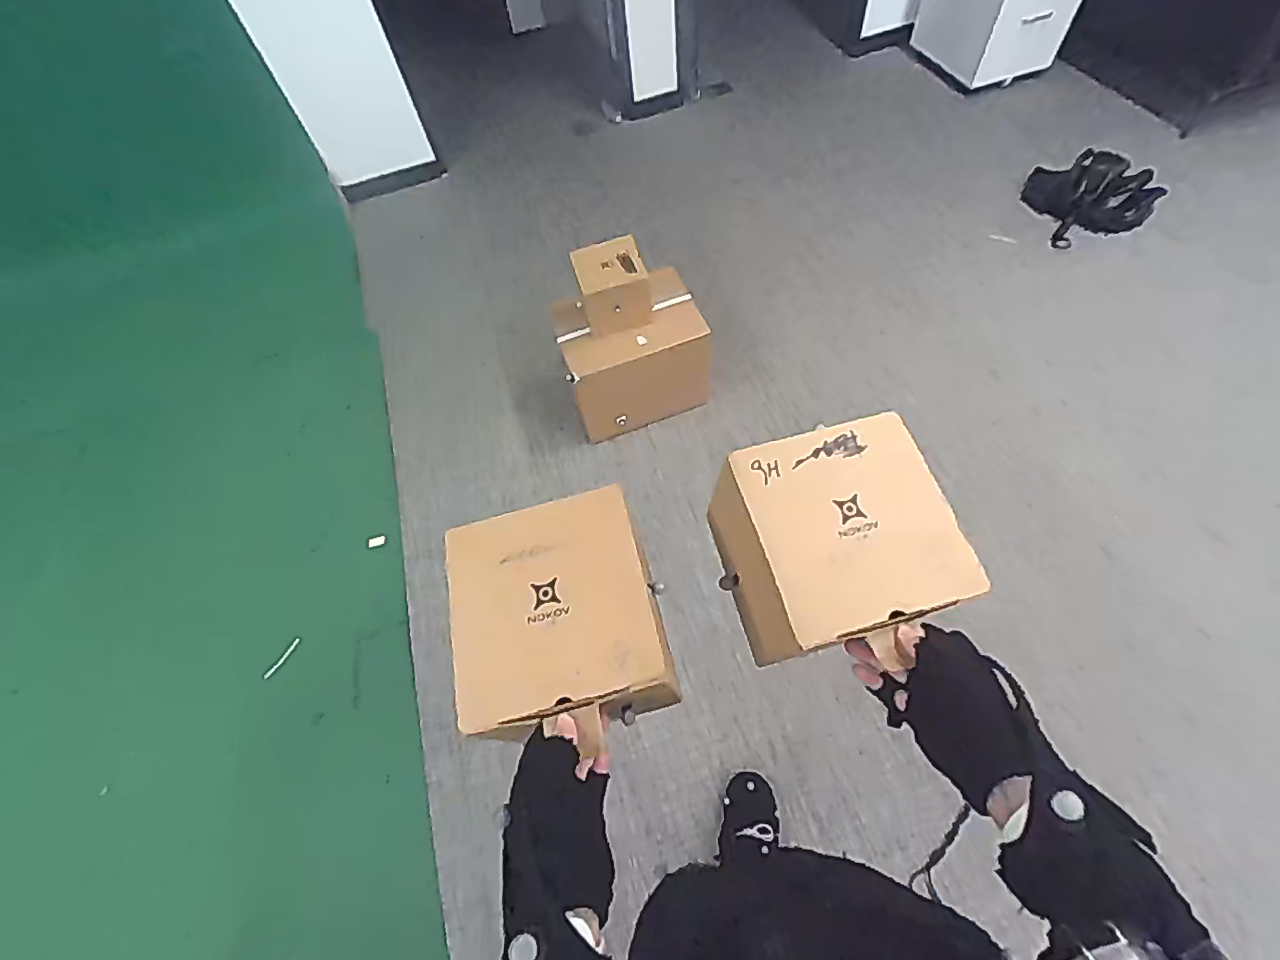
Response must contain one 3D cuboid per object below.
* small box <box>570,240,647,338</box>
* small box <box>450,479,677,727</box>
[{"bbox_3d":[-0.082,-0.515,1.471,0.179,0.176,0.168,-14,63,-3],"label":"small box"},{"bbox_3d":[-0.065,0.129,0.524,0.168,0.176,0.179,-16,60,-1],"label":"small box"}]
